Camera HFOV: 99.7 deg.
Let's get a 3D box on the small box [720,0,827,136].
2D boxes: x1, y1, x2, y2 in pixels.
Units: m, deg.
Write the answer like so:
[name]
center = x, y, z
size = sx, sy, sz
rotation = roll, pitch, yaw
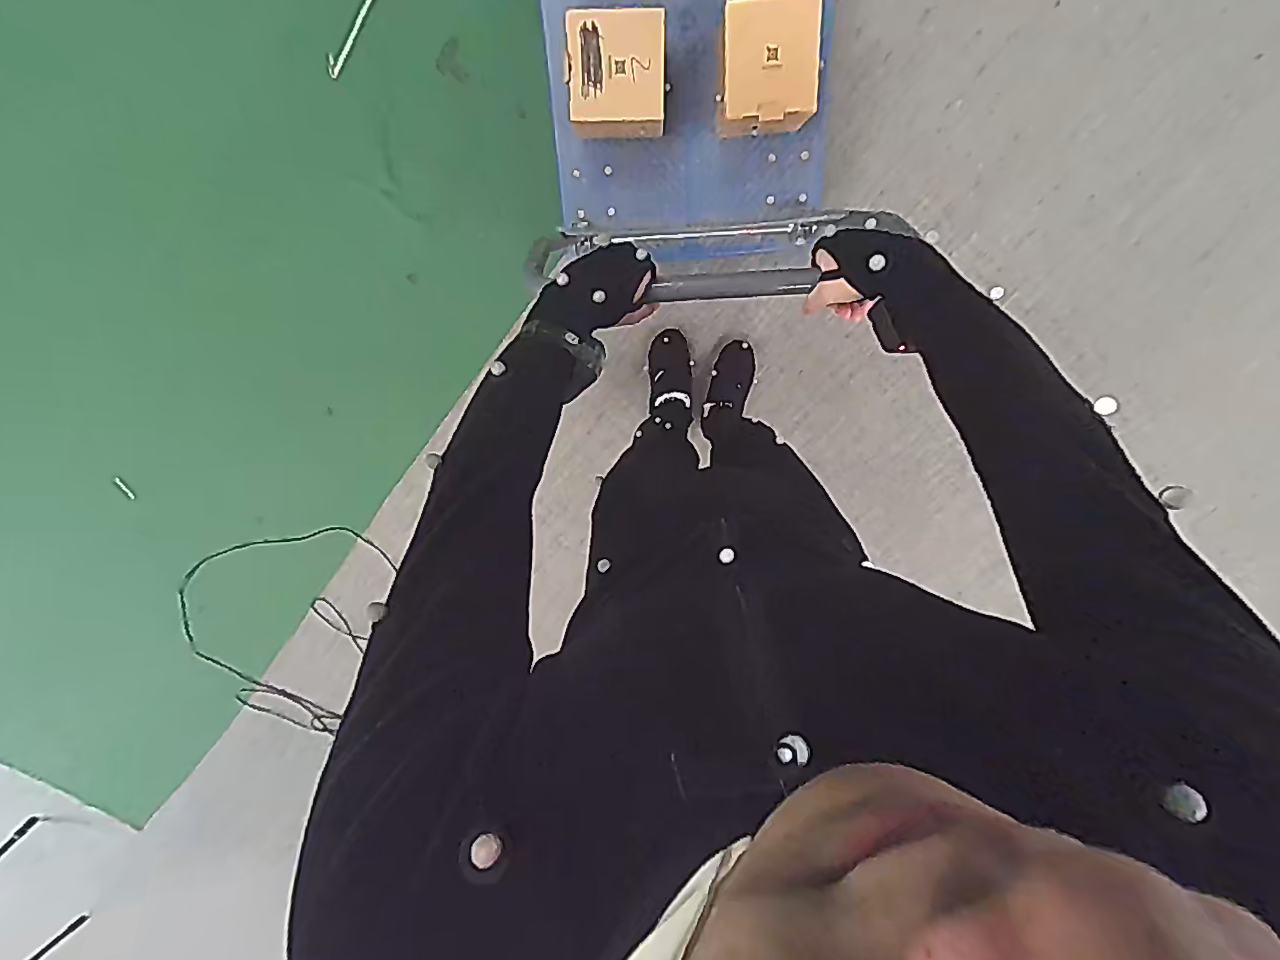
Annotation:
[small box]
center = 0.241, -0.770, 1.020
size = 0.168, 0.176, 0.179
rotation = -3, 114, 4
